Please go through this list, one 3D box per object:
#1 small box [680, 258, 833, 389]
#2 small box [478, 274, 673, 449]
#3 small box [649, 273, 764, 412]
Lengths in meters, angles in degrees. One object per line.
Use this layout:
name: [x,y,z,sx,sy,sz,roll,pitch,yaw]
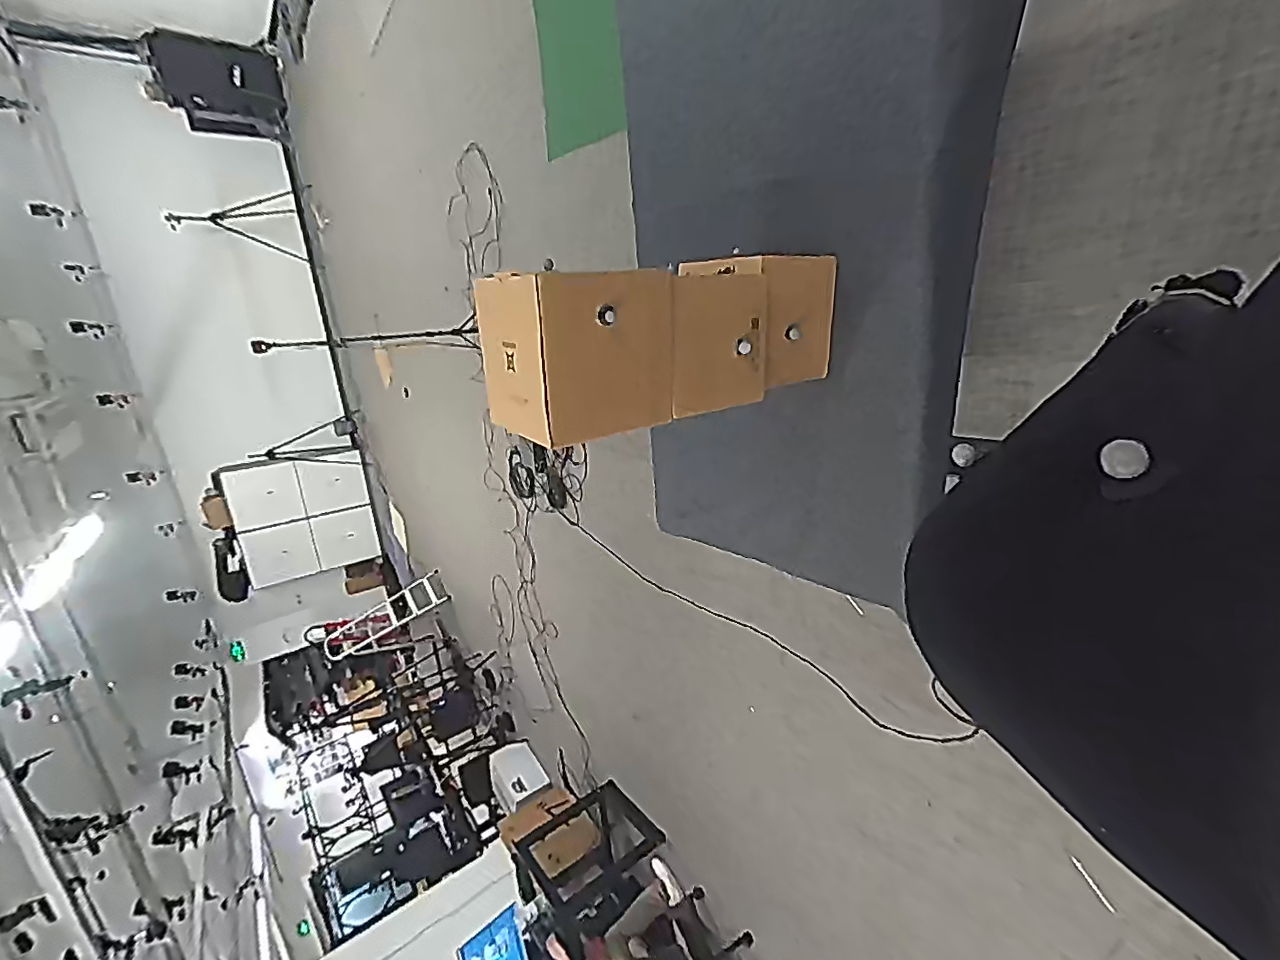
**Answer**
small box: [0.179,-0.245,0.838,0.168,0.176,0.179,22,121,50]
small box: [-0.074,-0.154,0.652,0.168,0.176,0.179,25,125,51]
small box: [0.050,-0.191,0.750,0.179,0.176,0.168,18,117,53]
